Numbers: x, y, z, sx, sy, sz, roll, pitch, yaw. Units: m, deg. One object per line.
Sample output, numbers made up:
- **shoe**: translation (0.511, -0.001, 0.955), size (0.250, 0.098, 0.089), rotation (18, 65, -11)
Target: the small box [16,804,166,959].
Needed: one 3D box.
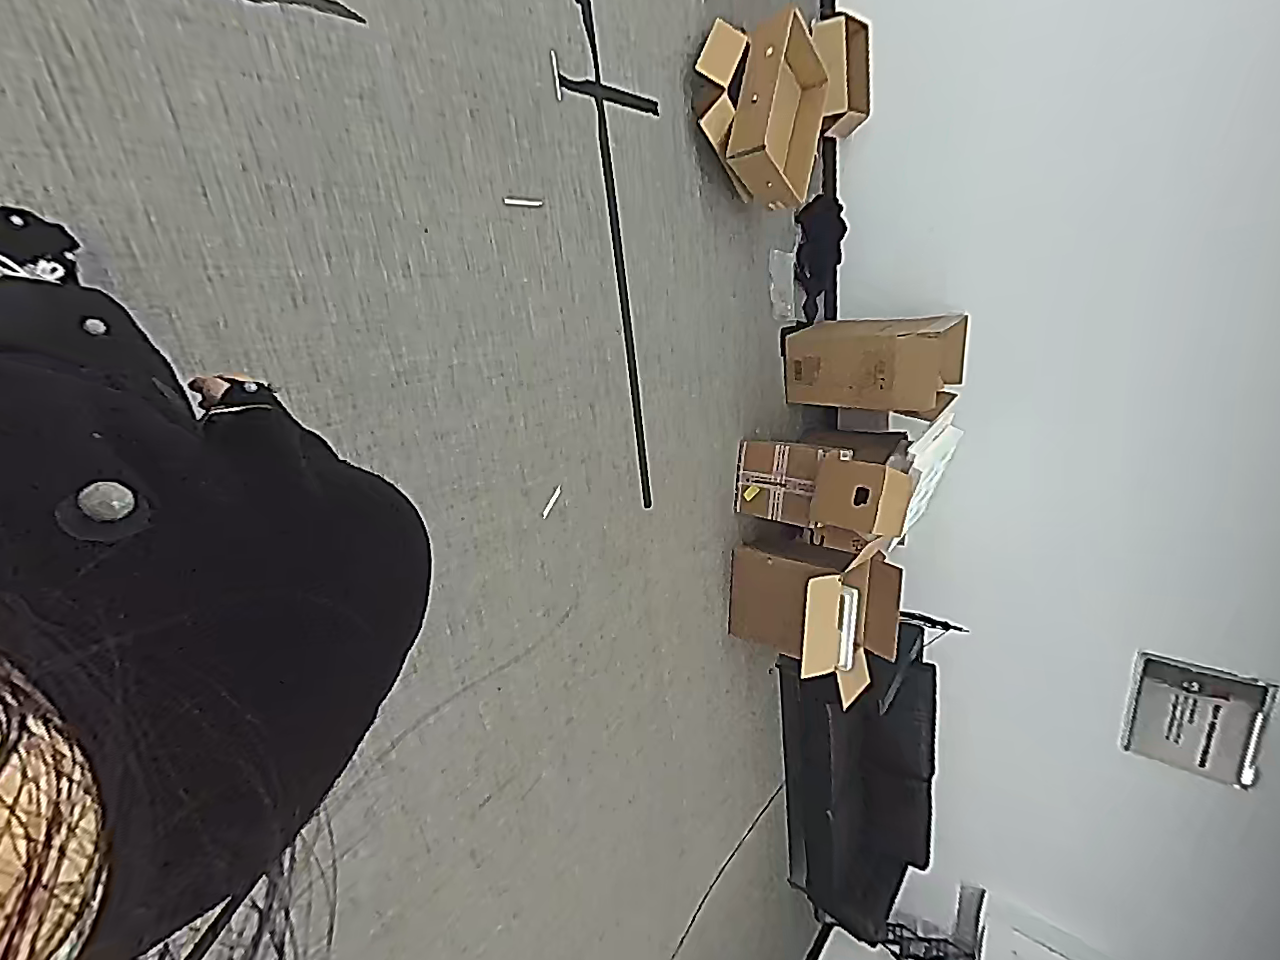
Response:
- **small box**: translation (-1.116, 0.803, 1.100), size (0.168, 0.176, 0.179), rotation (-28, 117, -43)
